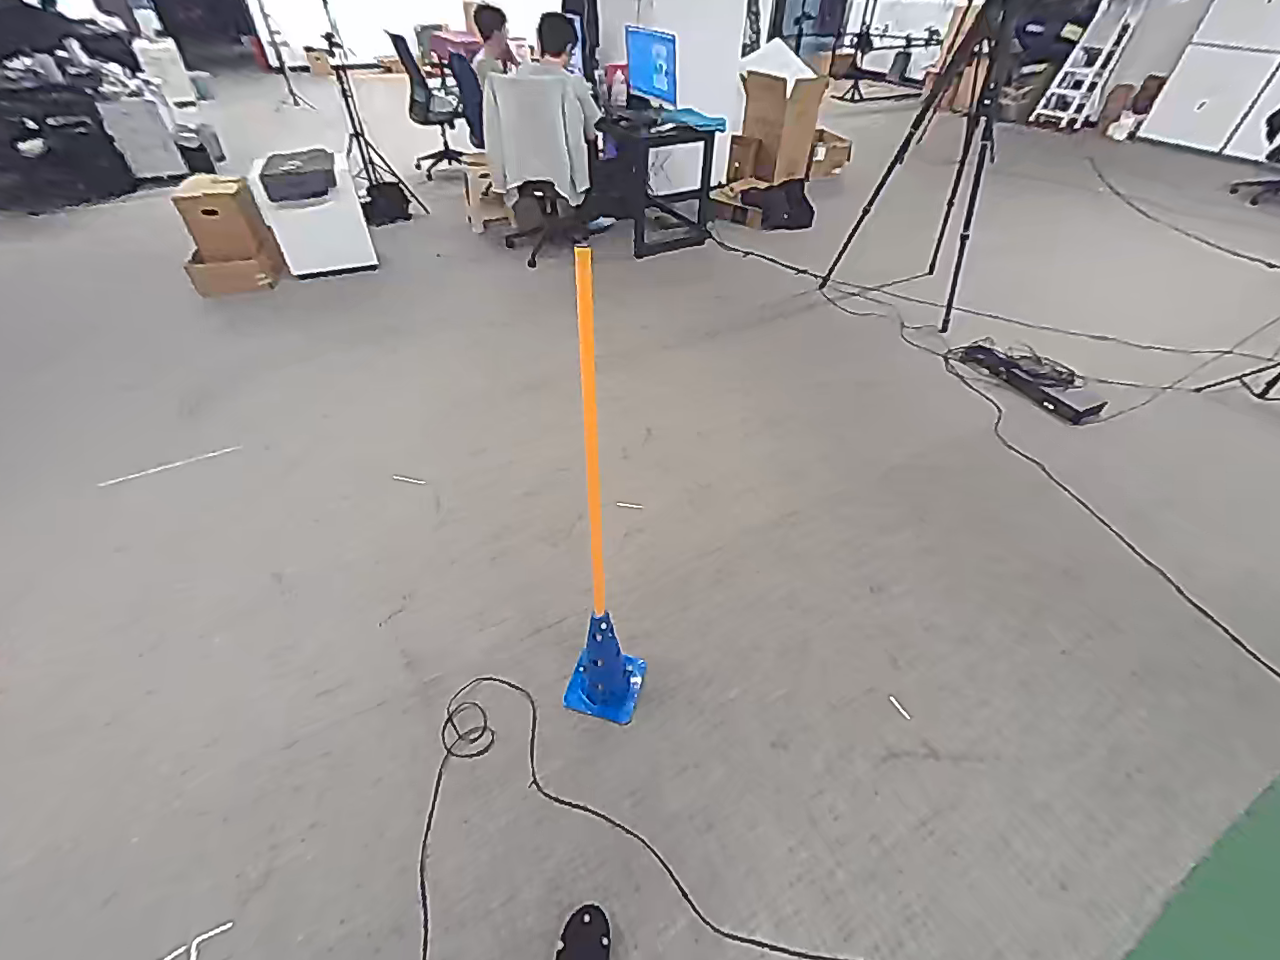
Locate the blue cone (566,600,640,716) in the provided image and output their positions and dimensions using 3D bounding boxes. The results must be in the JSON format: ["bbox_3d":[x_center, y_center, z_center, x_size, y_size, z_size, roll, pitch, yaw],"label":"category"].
[{"bbox_3d":[-0.102,0.444,1.434,0.192,0.380,0.193,11,42,10],"label":"blue cone"}]
